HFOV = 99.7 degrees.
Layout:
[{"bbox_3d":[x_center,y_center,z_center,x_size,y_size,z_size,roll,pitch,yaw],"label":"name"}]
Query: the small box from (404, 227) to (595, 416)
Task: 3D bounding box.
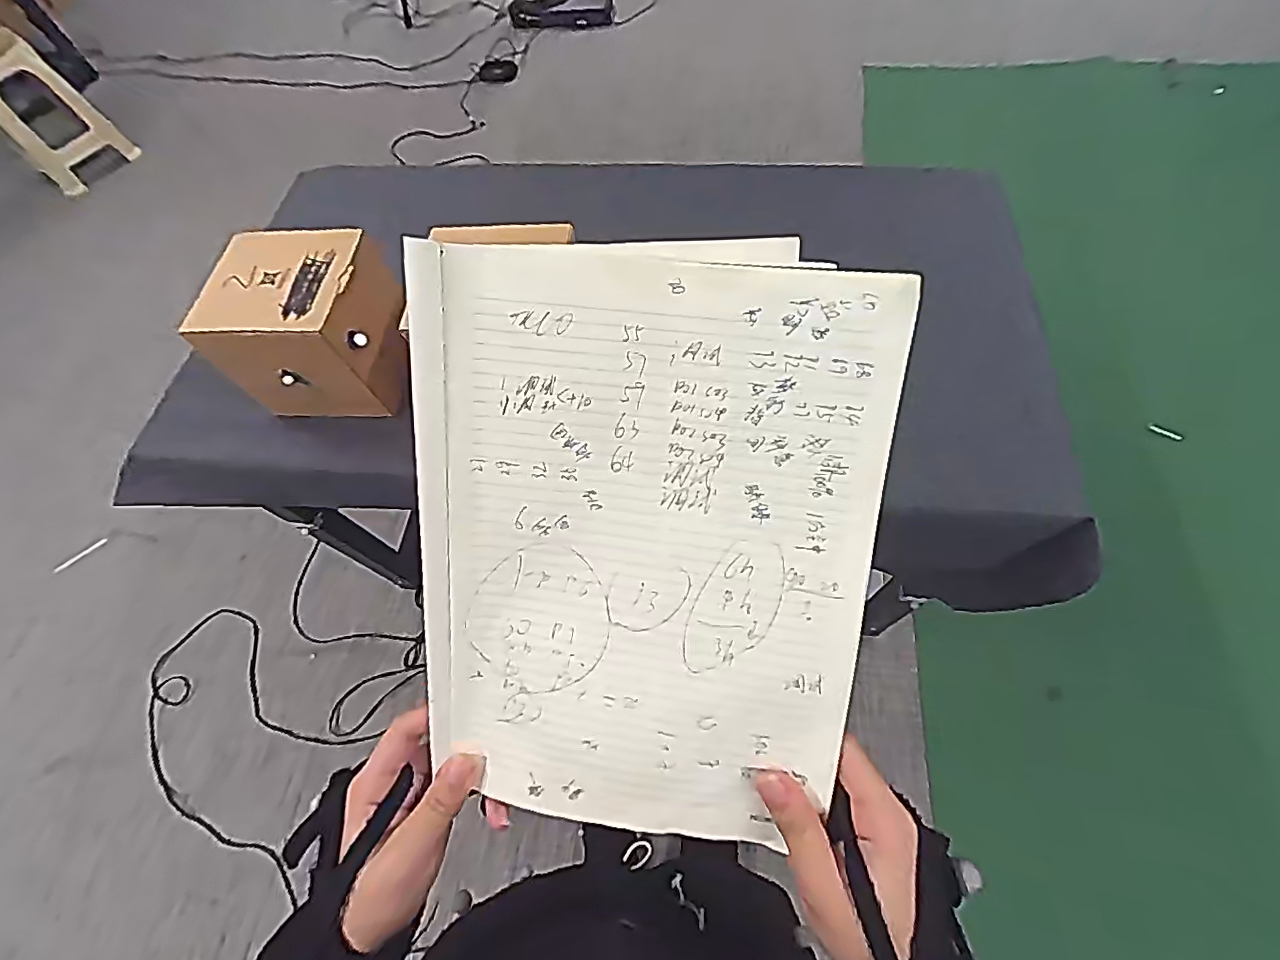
[{"bbox_3d":[-0.162,-0.193,0.687,0.179,0.176,0.168,0,62,5],"label":"small box"}]
